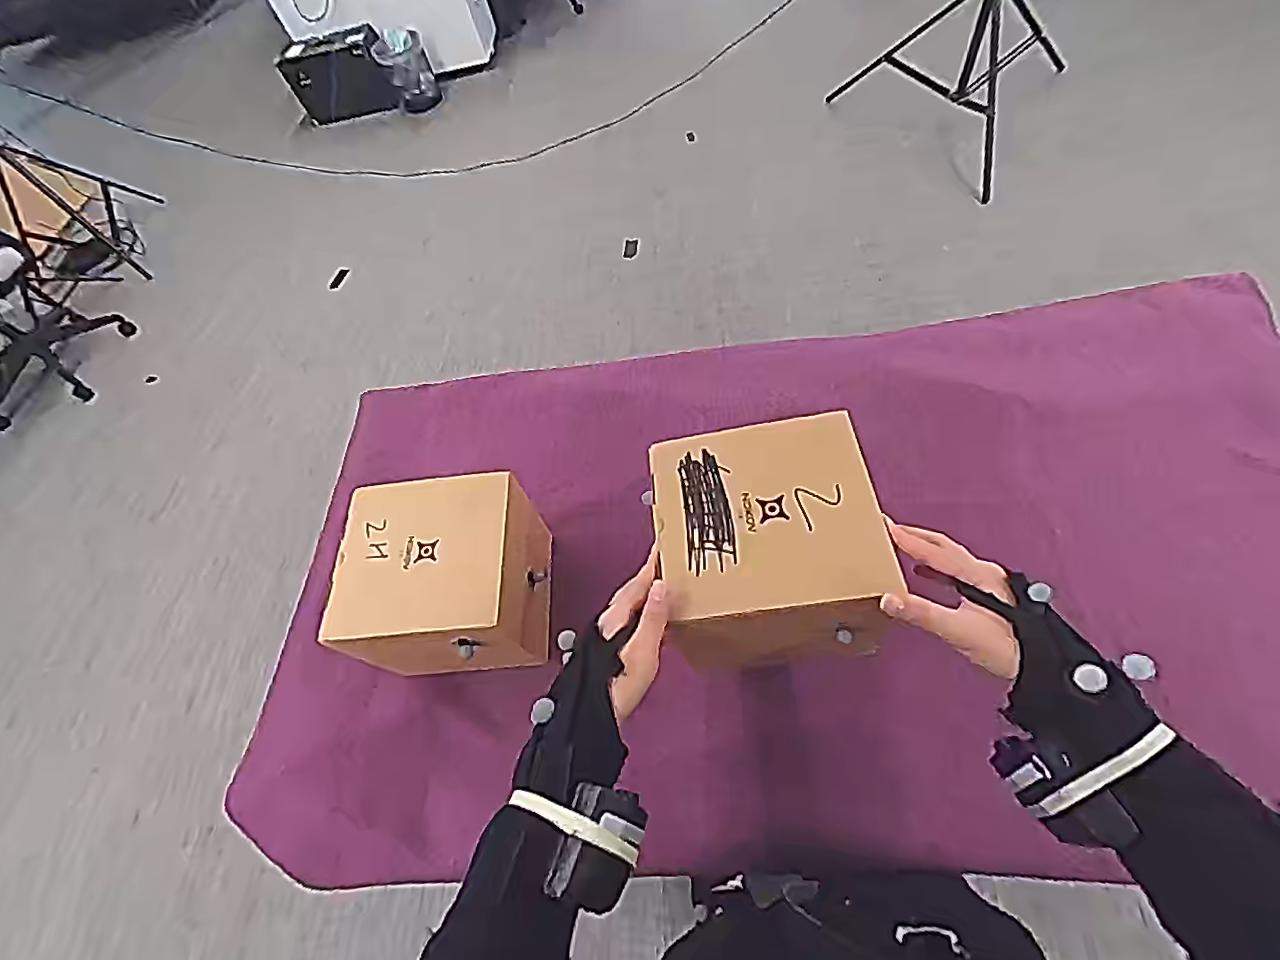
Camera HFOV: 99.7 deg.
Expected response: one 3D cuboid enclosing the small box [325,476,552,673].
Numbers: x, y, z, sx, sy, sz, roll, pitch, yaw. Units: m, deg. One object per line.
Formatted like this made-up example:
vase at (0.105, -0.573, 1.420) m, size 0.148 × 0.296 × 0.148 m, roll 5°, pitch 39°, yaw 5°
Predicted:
small box at (-0.203, 0.113, 0.606) m, size 0.179 × 0.176 × 0.168 m, roll -6°, pitch 59°, yaw 5°
